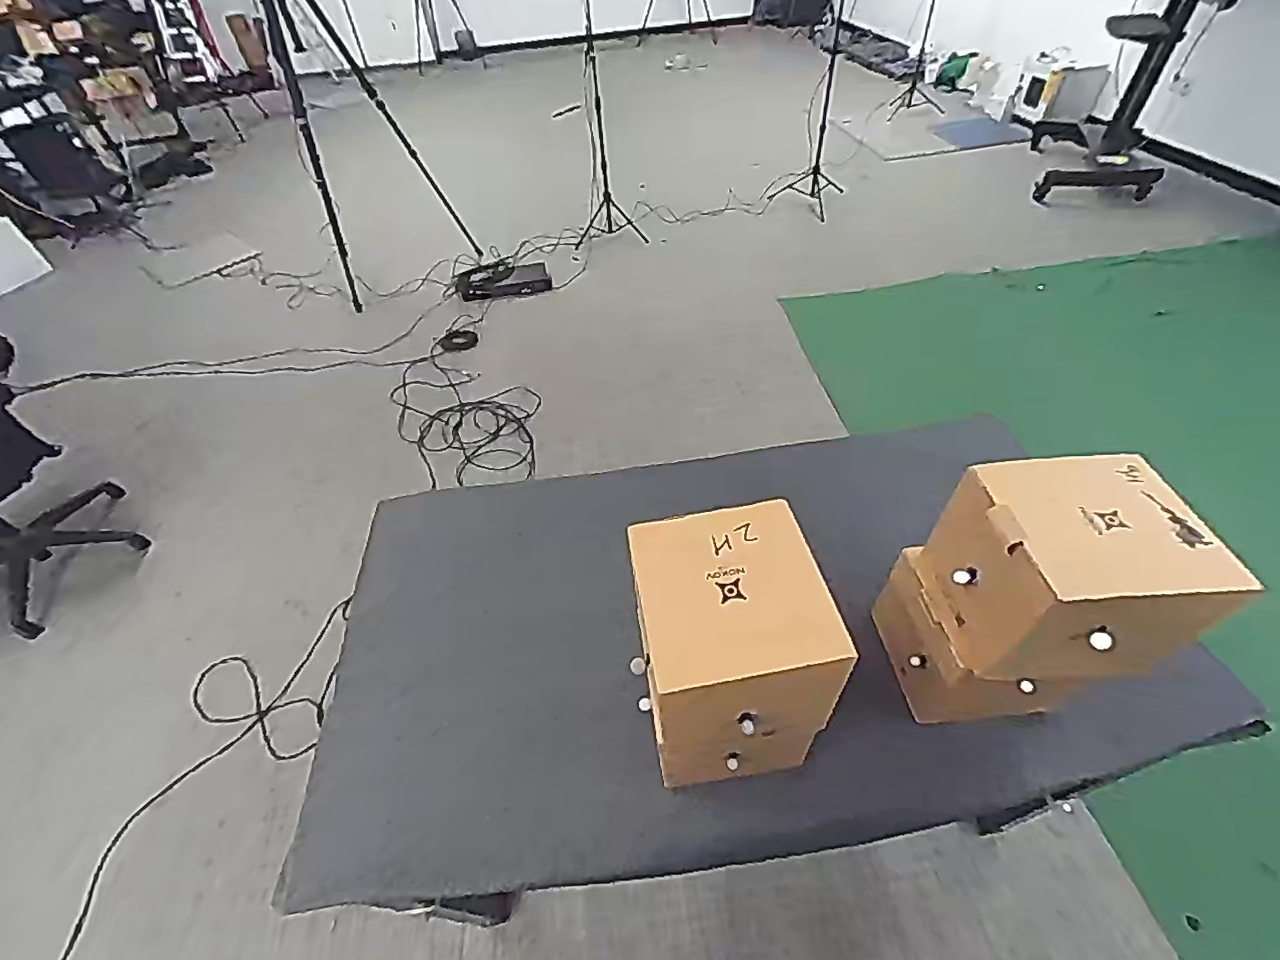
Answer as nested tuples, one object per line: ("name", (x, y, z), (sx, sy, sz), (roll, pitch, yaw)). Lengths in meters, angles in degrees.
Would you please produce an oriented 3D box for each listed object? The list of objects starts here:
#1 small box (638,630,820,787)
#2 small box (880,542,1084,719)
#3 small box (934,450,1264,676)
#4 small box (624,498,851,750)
("small box", (0.096, 0.253, 0.658), (0.179, 0.176, 0.168), (-9, 46, -1))
("small box", (0.428, 0.190, 0.688), (0.179, 0.176, 0.168), (-5, 48, -1))
("small box", (0.431, 0.090, 0.557), (0.179, 0.176, 0.168), (-4, 47, 2))
("small box", (0.082, 0.146, 0.533), (0.168, 0.176, 0.179), (-9, 46, -3))
